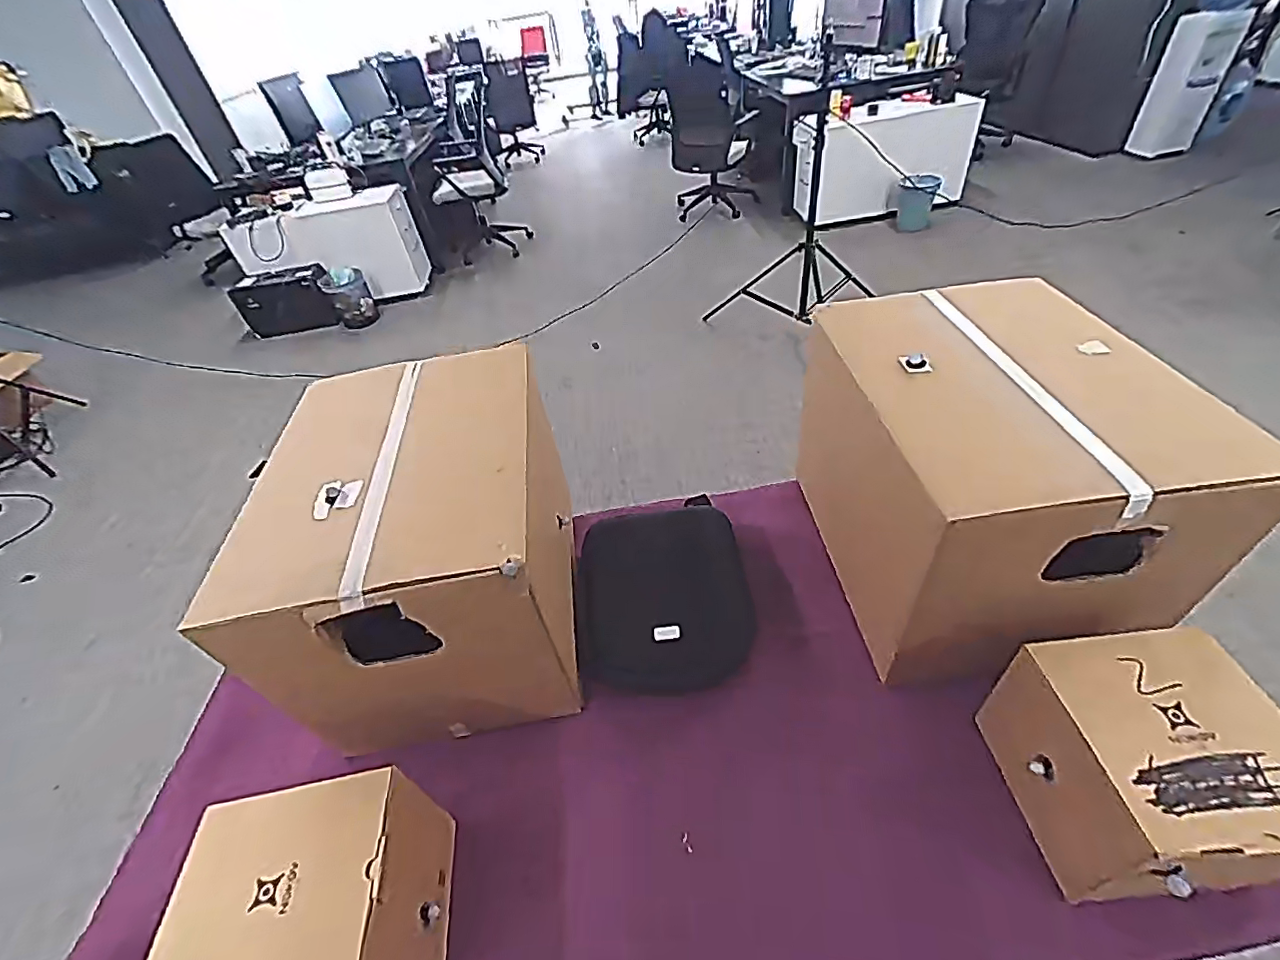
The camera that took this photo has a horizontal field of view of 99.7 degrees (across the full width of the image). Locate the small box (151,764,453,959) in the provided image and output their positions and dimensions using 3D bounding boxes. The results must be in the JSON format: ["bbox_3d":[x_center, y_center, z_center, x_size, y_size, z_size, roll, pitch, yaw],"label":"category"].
[{"bbox_3d":[-0.294,0.399,0.501,0.179,0.176,0.168,-12,41,-4],"label":"small box"}]

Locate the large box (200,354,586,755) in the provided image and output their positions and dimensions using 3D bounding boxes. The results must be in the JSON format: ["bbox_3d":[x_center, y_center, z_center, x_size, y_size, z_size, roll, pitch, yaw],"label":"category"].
[{"bbox_3d":[-0.264,0.086,0.731,0.320,0.320,0.408,-12,45,-2],"label":"large box"}]
